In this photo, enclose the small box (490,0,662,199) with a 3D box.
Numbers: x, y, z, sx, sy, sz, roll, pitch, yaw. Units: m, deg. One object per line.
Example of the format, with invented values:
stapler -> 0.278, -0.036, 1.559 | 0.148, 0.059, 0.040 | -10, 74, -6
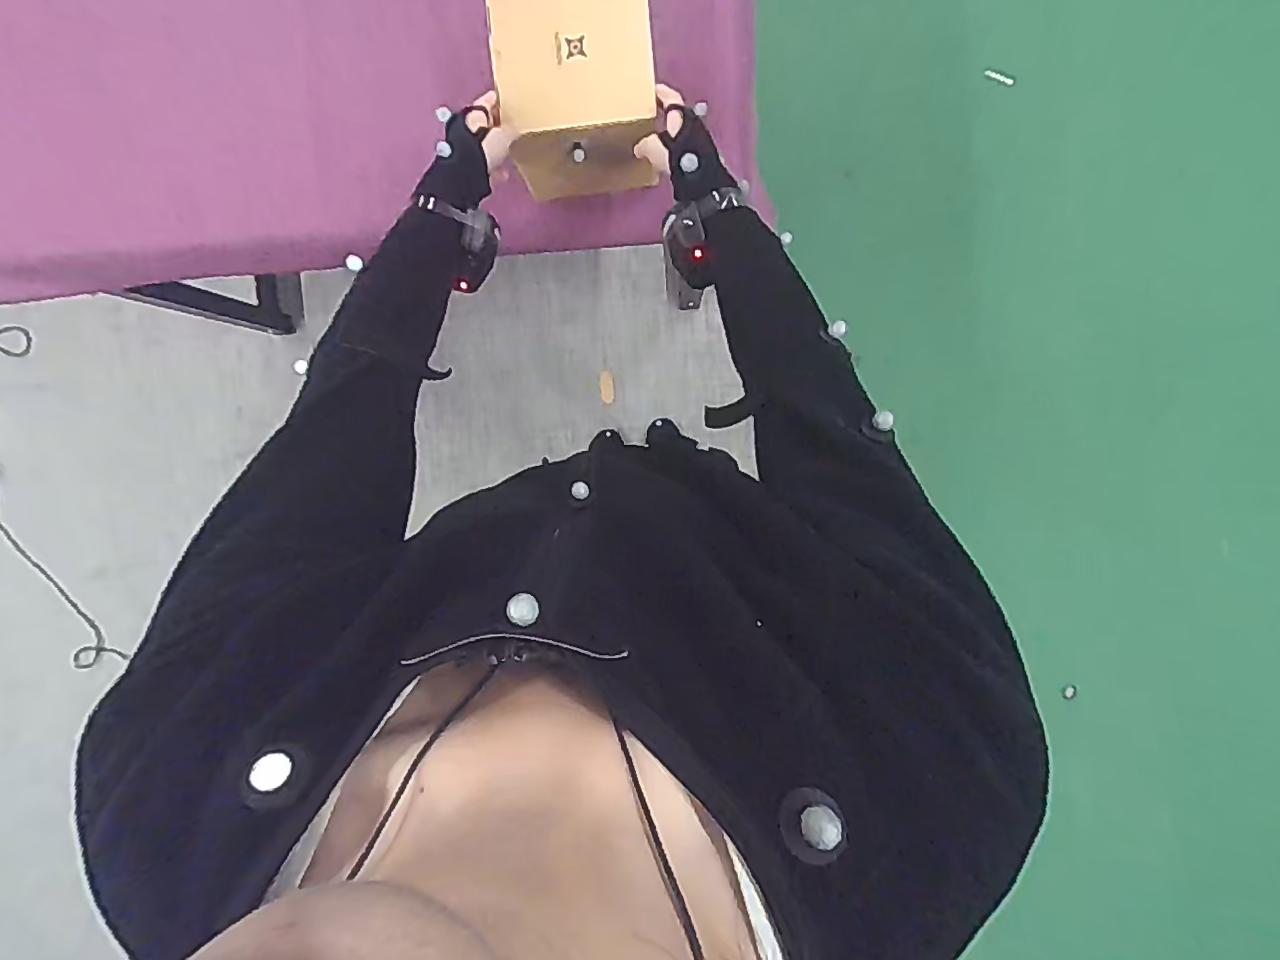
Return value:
small box -> -0.066, -0.471, 0.666 | 0.179, 0.176, 0.168 | -5, 96, 5
